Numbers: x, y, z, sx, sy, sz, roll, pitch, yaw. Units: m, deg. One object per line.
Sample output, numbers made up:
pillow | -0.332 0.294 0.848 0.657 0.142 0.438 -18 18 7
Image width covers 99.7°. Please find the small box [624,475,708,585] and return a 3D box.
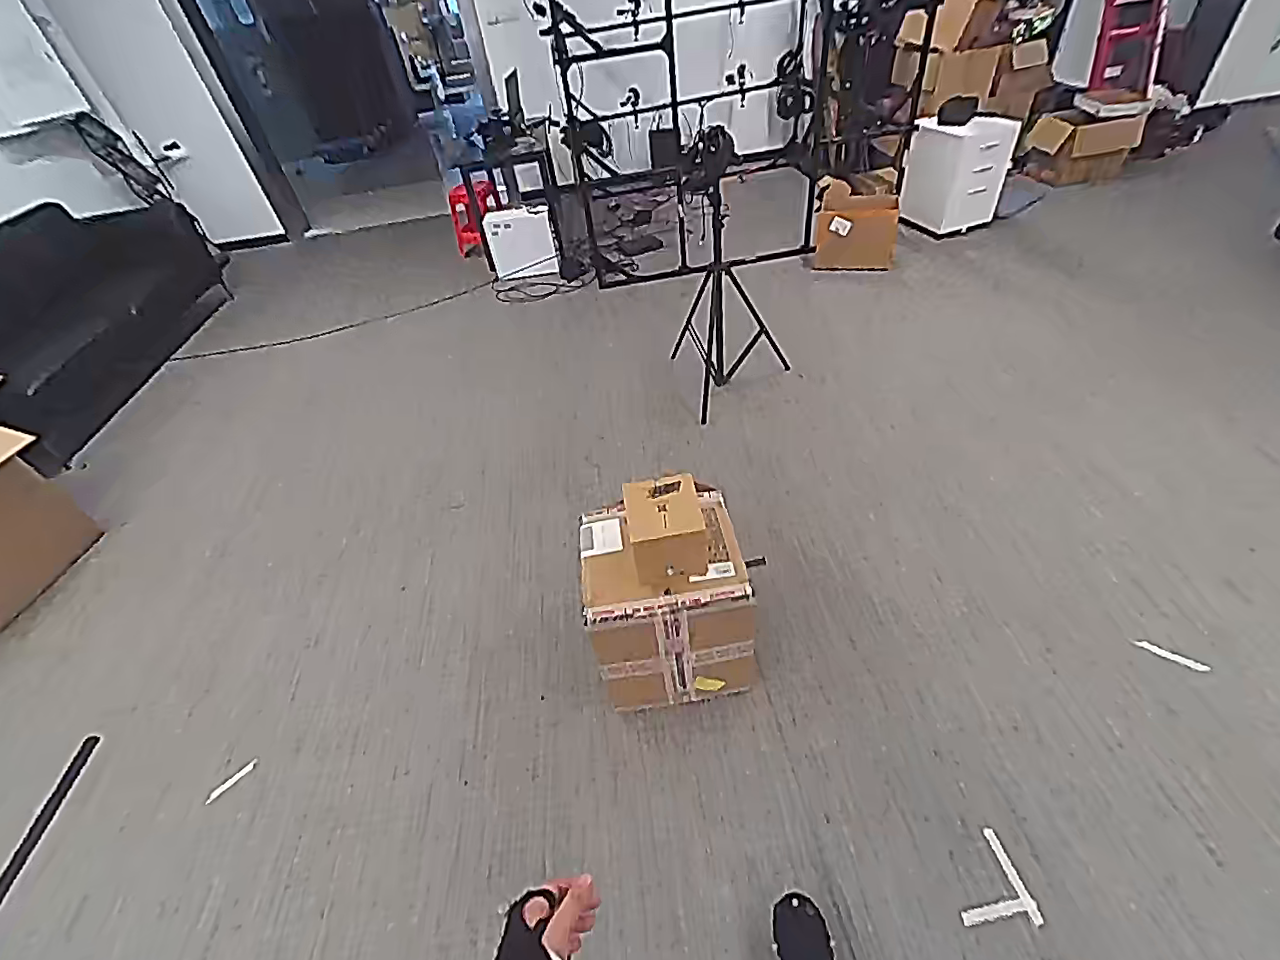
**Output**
small box | 0.060 0.117 1.255 0.168 0.176 0.179 -10 46 -1
